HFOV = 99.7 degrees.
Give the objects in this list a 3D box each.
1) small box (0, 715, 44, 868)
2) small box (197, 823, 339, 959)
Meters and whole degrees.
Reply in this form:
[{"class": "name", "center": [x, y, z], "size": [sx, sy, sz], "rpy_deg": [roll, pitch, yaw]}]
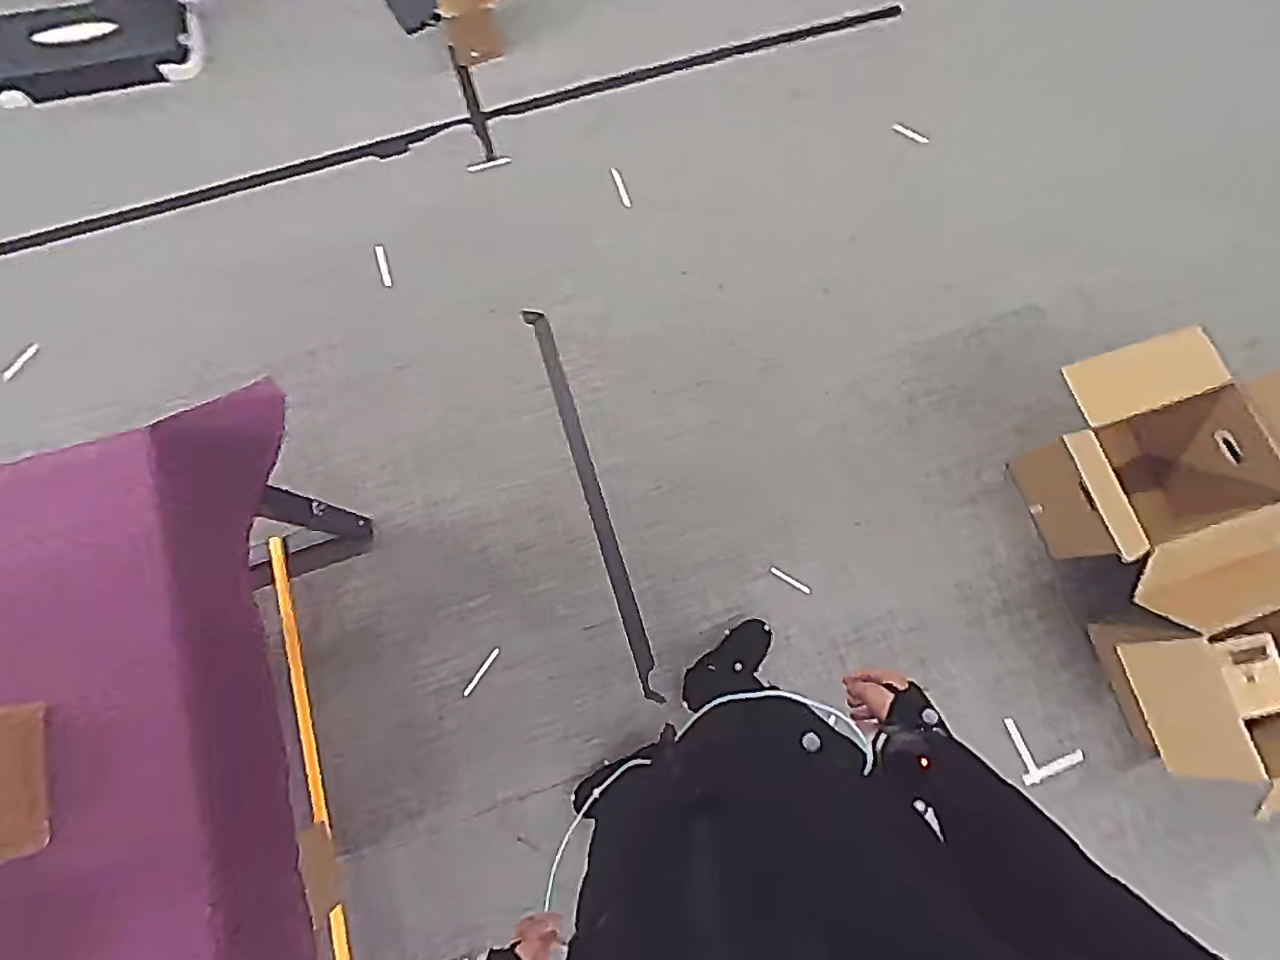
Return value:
[{"class": "small box", "center": [-0.834, 0.377, 0.604], "size": [0.168, 0.176, 0.179], "rpy_deg": [-15, 78, -4]}, {"class": "small box", "center": [-0.758, 0.857, 1.120], "size": [0.168, 0.176, 0.179], "rpy_deg": [-21, 76, -5]}]
